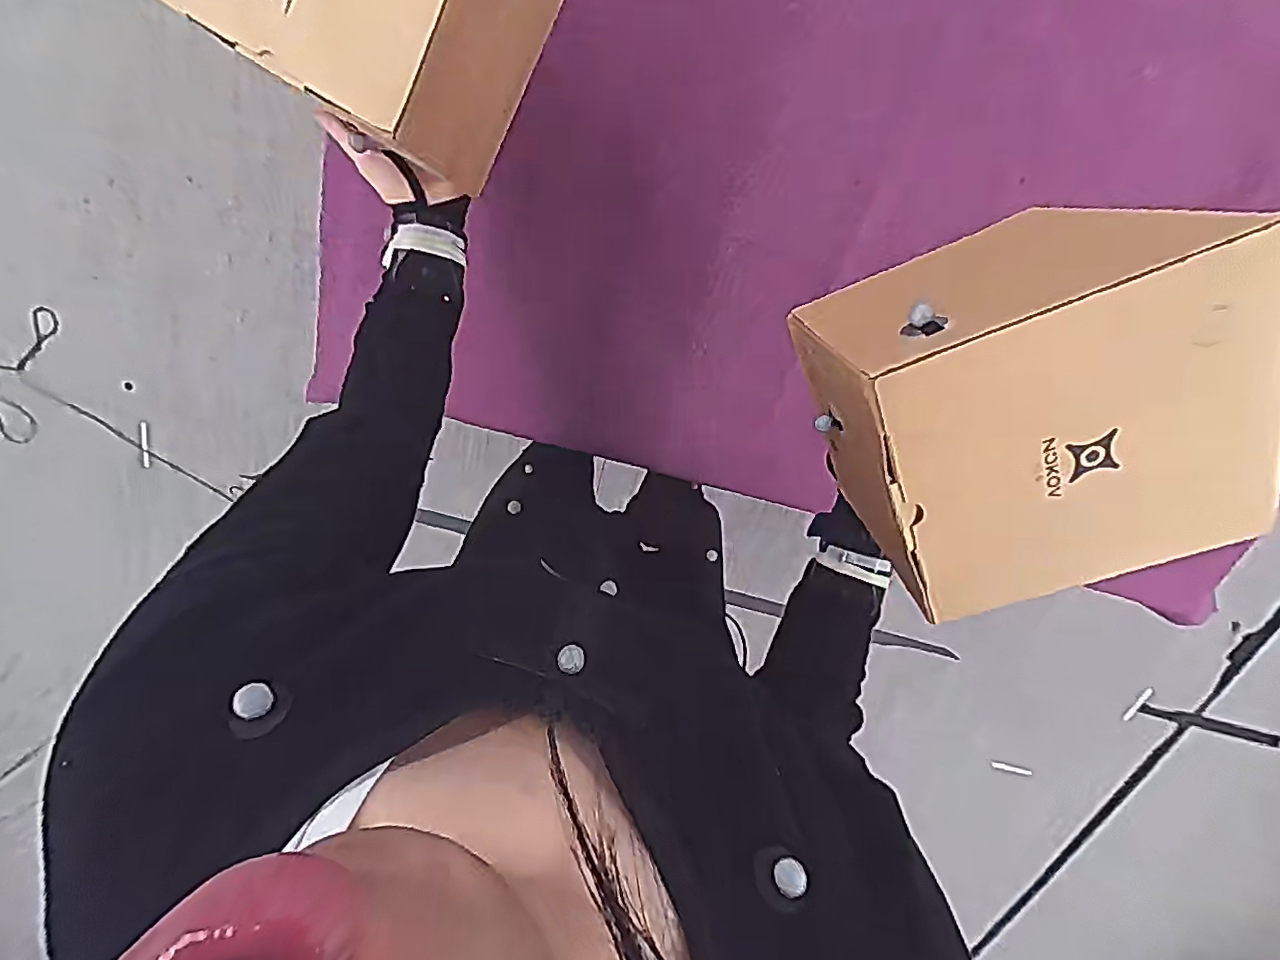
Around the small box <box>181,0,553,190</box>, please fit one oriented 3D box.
[{"bbox_3d":[-0.175,-0.347,0.385,0.168,0.176,0.179,29,104,-6],"label":"small box"}]

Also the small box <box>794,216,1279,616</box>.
[{"bbox_3d":[0.219,-0.050,0.344,0.179,0.176,0.168,-21,115,12],"label":"small box"}]
